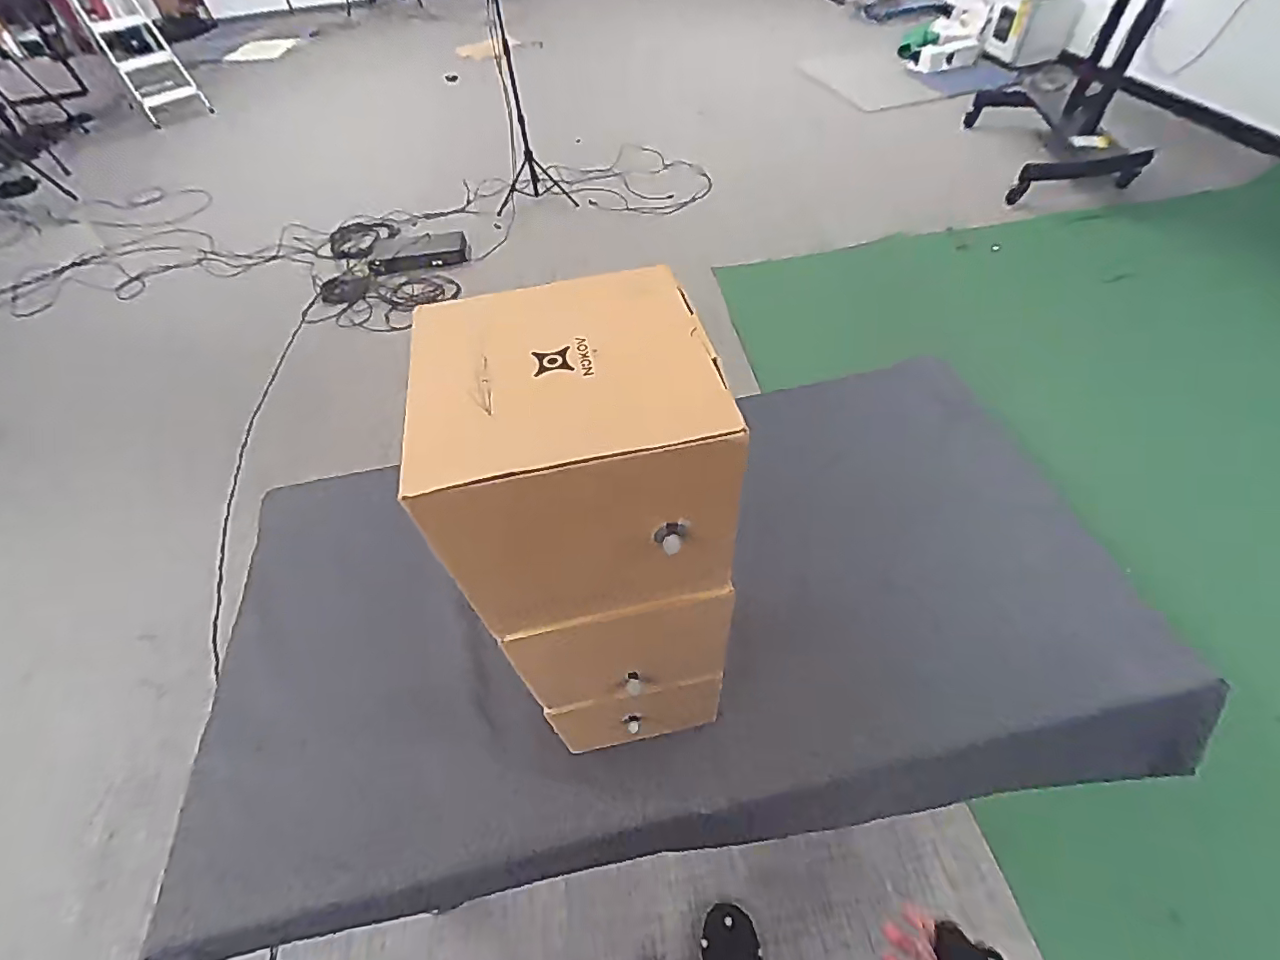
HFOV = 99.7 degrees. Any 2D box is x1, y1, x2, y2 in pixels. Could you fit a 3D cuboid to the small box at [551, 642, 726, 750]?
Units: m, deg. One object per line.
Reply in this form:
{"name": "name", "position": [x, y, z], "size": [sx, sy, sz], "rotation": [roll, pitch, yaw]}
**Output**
{"name": "small box", "position": [-0.014, 0.194, 0.631], "size": [0.179, 0.176, 0.168], "rotation": [-13, 52, -7]}

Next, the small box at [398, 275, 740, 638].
{"name": "small box", "position": [-0.043, -0.011, 0.379], "size": [0.179, 0.176, 0.168], "rotation": [-13, 51, -4]}

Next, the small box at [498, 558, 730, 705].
{"name": "small box", "position": [-0.028, 0.091, 0.505], "size": [0.179, 0.176, 0.168], "rotation": [-11, 52, -4]}
